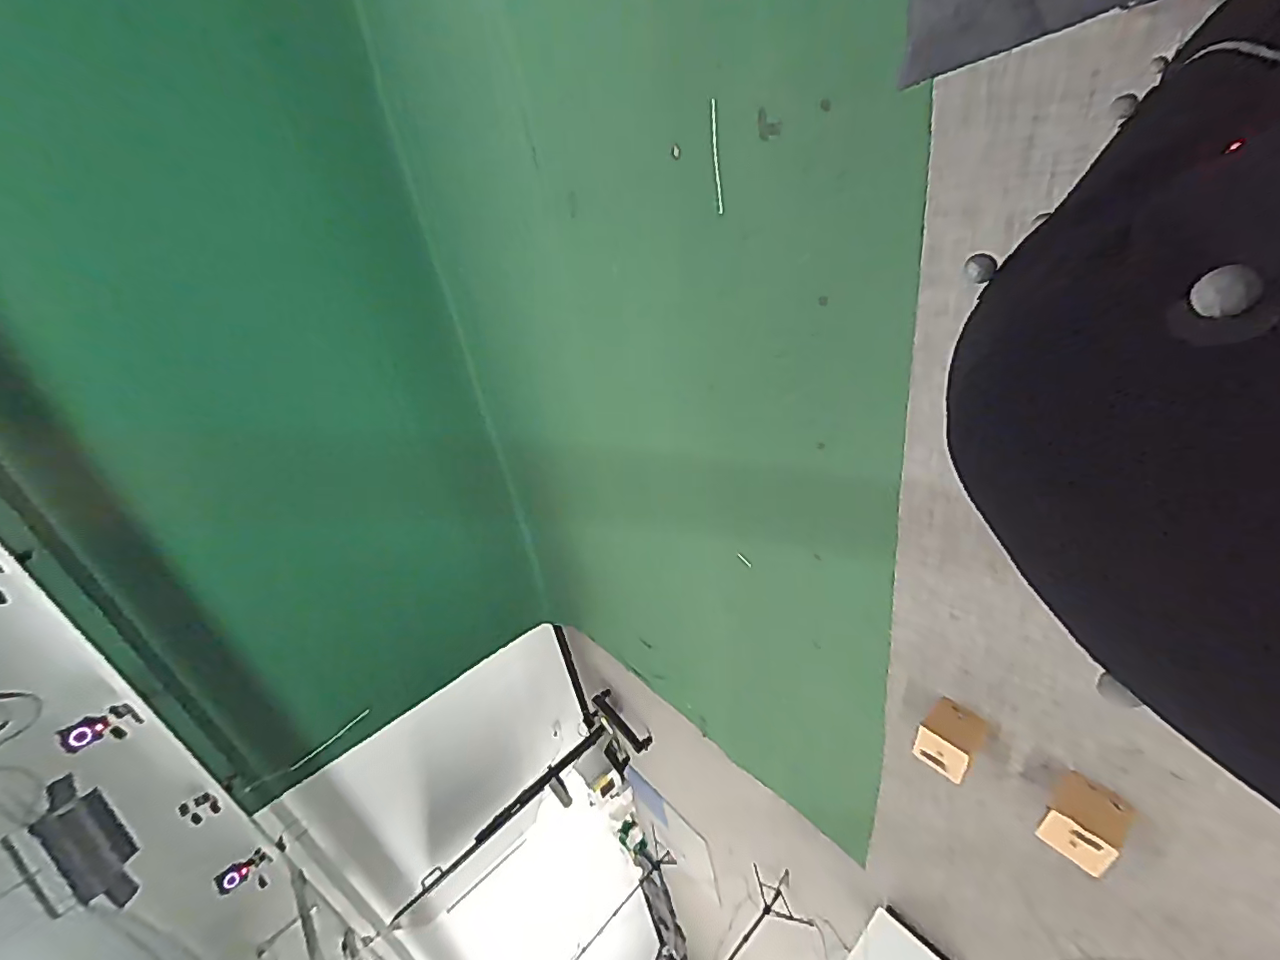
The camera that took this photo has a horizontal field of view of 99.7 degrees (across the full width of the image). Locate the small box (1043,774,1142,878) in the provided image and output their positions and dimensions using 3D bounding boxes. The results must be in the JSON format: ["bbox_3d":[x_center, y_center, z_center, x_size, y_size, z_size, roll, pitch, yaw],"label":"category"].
[{"bbox_3d":[1.363,1.034,1.628,0.168,0.176,0.179,30,139,41],"label":"small box"}]
